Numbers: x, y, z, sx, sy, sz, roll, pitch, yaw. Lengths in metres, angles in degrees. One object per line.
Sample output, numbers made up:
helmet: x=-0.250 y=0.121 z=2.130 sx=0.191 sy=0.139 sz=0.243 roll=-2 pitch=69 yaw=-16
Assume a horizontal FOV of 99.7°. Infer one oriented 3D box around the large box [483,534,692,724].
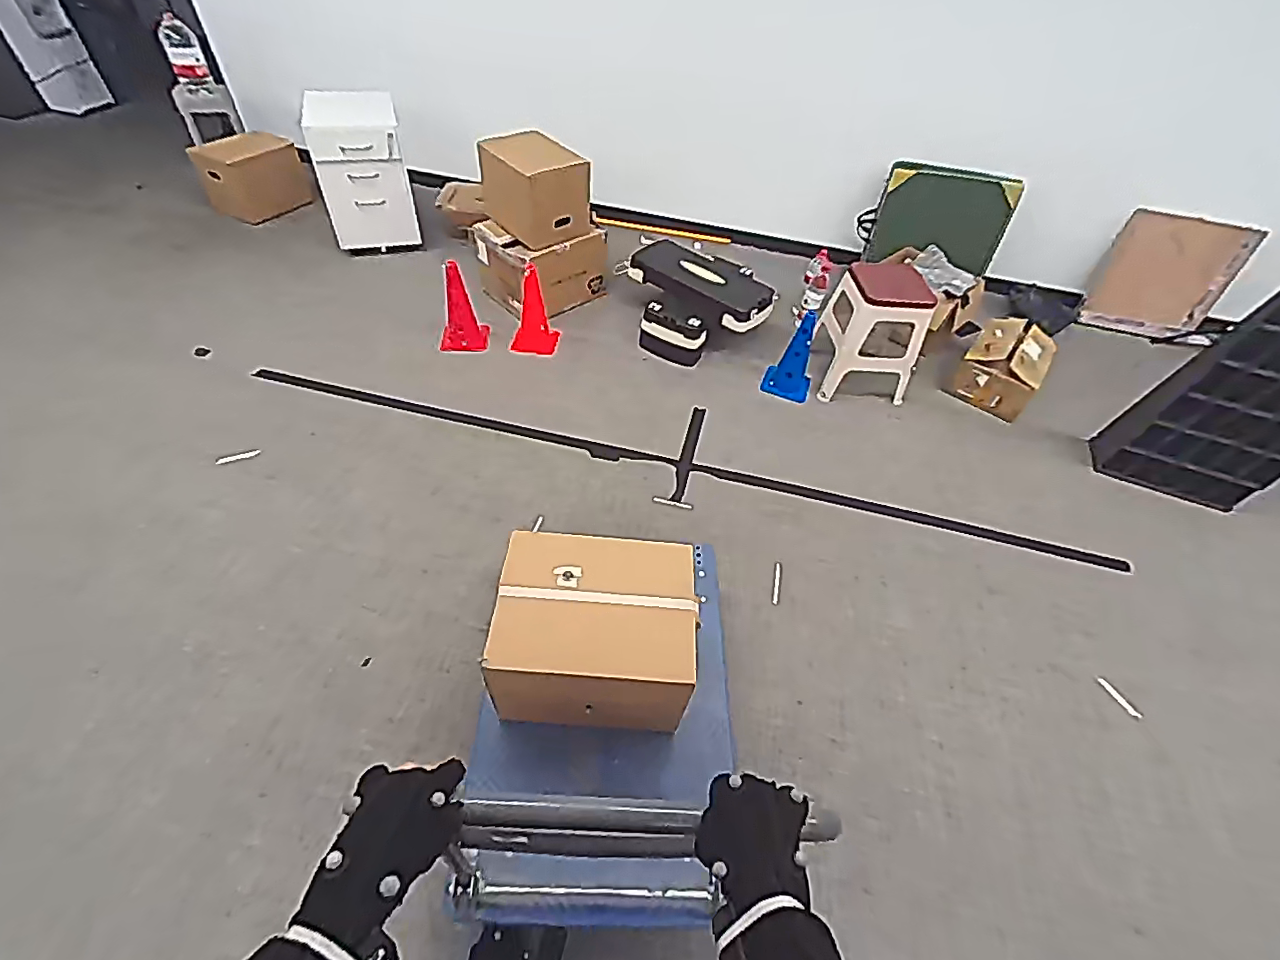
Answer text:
large box: x=-0.101 y=0.345 z=1.230 sx=0.408 sy=0.320 sz=0.320 roll=5 pitch=49 yaw=-1
